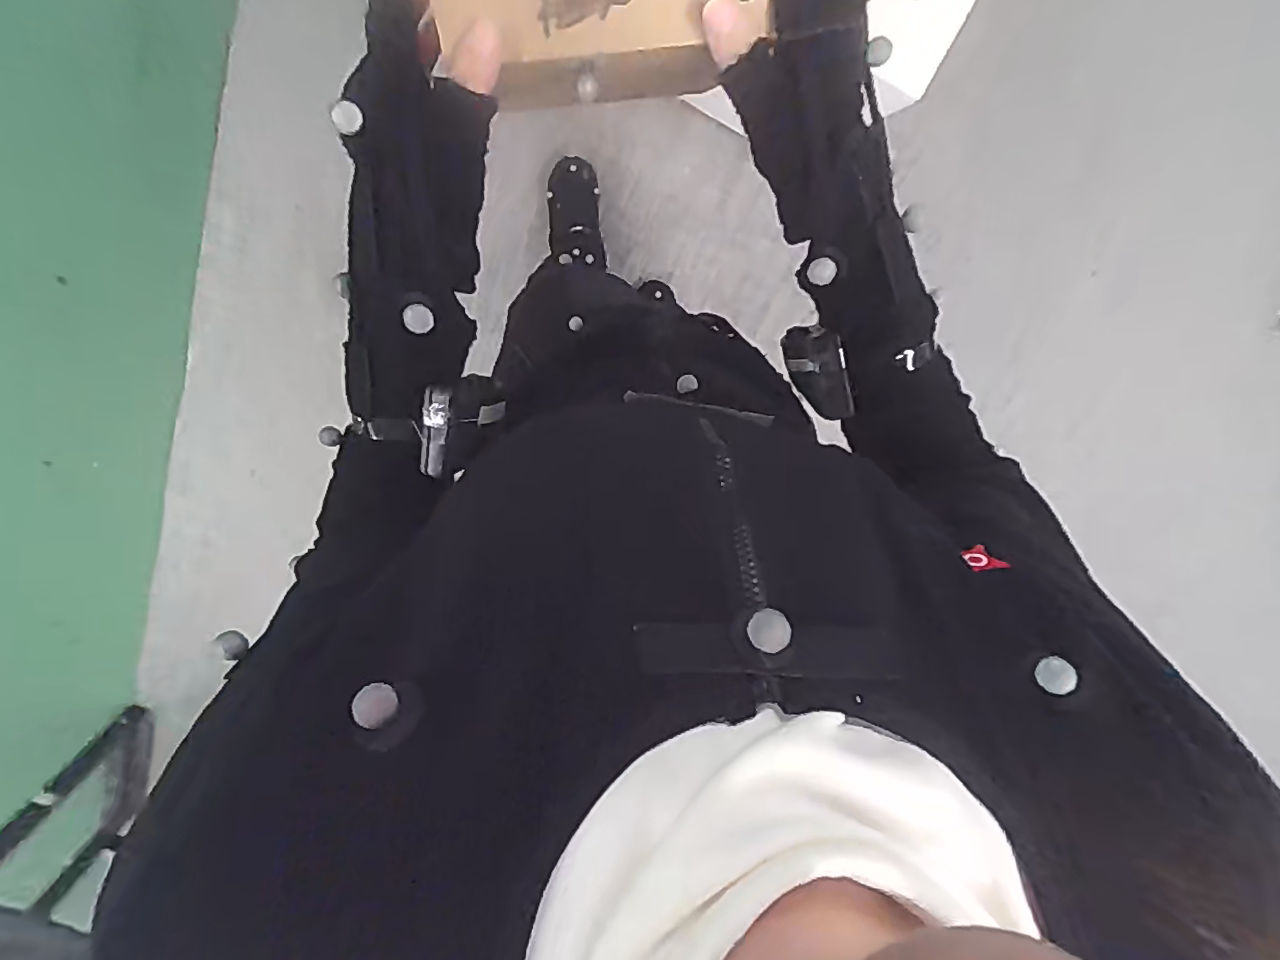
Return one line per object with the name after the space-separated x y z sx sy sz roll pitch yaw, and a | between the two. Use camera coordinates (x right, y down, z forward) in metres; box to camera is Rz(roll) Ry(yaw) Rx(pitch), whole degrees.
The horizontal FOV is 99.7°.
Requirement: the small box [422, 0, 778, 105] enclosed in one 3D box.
-0.033 -0.321 0.283 0.168 0.176 0.179 -9 118 -3 | small box
